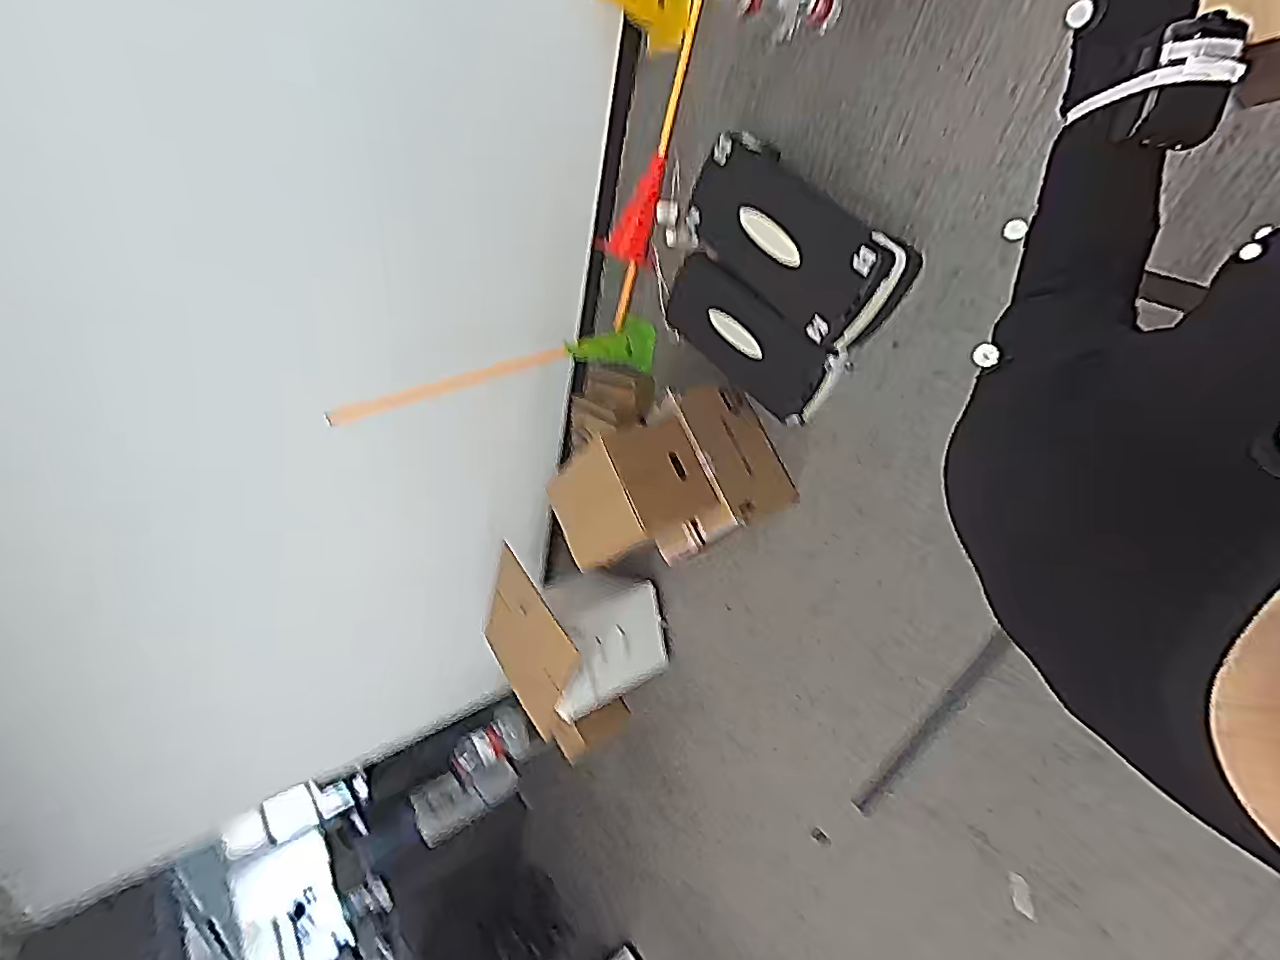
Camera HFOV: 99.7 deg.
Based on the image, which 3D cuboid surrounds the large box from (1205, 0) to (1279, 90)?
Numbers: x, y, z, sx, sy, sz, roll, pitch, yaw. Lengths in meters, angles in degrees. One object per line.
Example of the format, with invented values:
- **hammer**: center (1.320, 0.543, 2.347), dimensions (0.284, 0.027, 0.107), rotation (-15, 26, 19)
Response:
- **large box**: center (0.600, -0.452, 0.259), dimensions (0.408, 0.320, 0.320), rotation (15, 120, 48)
